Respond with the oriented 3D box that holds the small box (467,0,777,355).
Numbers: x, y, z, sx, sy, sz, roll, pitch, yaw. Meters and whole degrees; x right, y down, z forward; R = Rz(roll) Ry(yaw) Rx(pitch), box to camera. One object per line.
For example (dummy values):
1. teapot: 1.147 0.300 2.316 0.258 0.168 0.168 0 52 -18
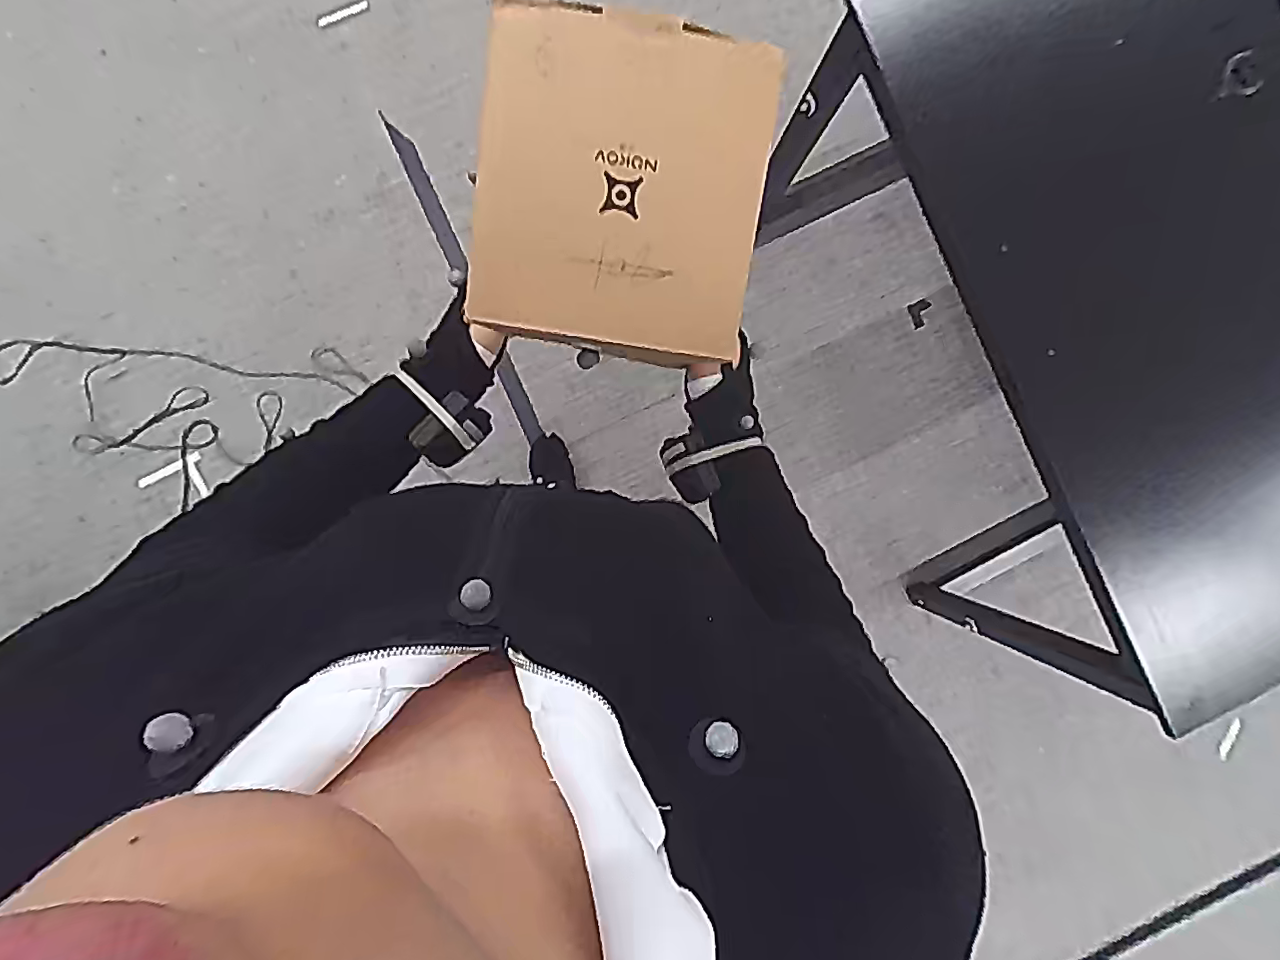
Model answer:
1. small box: -0.018 -0.192 0.396 0.168 0.176 0.179 7 102 -5
